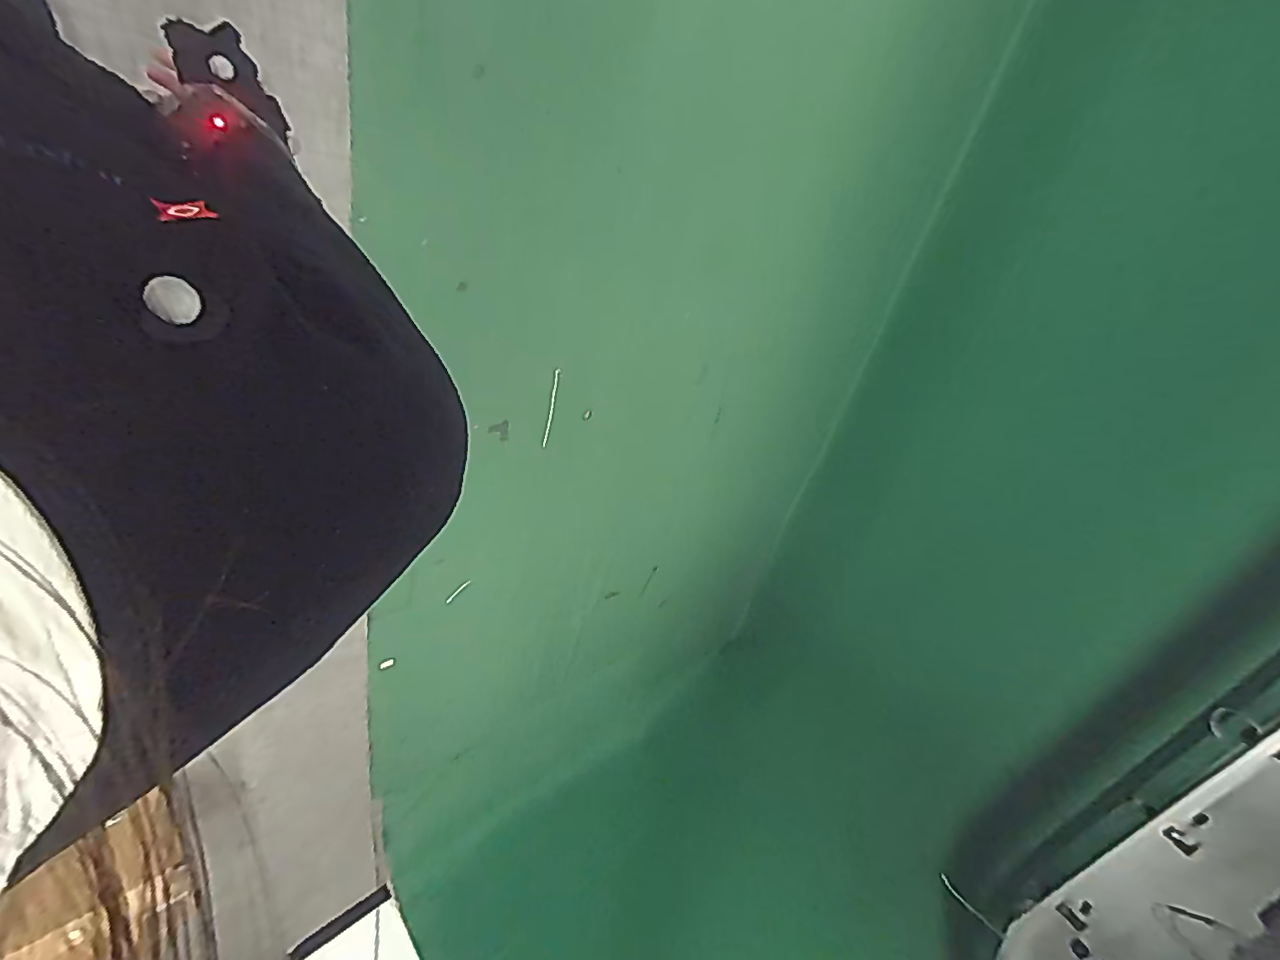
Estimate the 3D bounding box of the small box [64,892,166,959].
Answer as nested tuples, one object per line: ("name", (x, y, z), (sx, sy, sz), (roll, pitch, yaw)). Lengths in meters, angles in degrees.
("small box", (-1.414, 1.282, 1.460), (0.179, 0.176, 0.168), (-16, 127, -40))
